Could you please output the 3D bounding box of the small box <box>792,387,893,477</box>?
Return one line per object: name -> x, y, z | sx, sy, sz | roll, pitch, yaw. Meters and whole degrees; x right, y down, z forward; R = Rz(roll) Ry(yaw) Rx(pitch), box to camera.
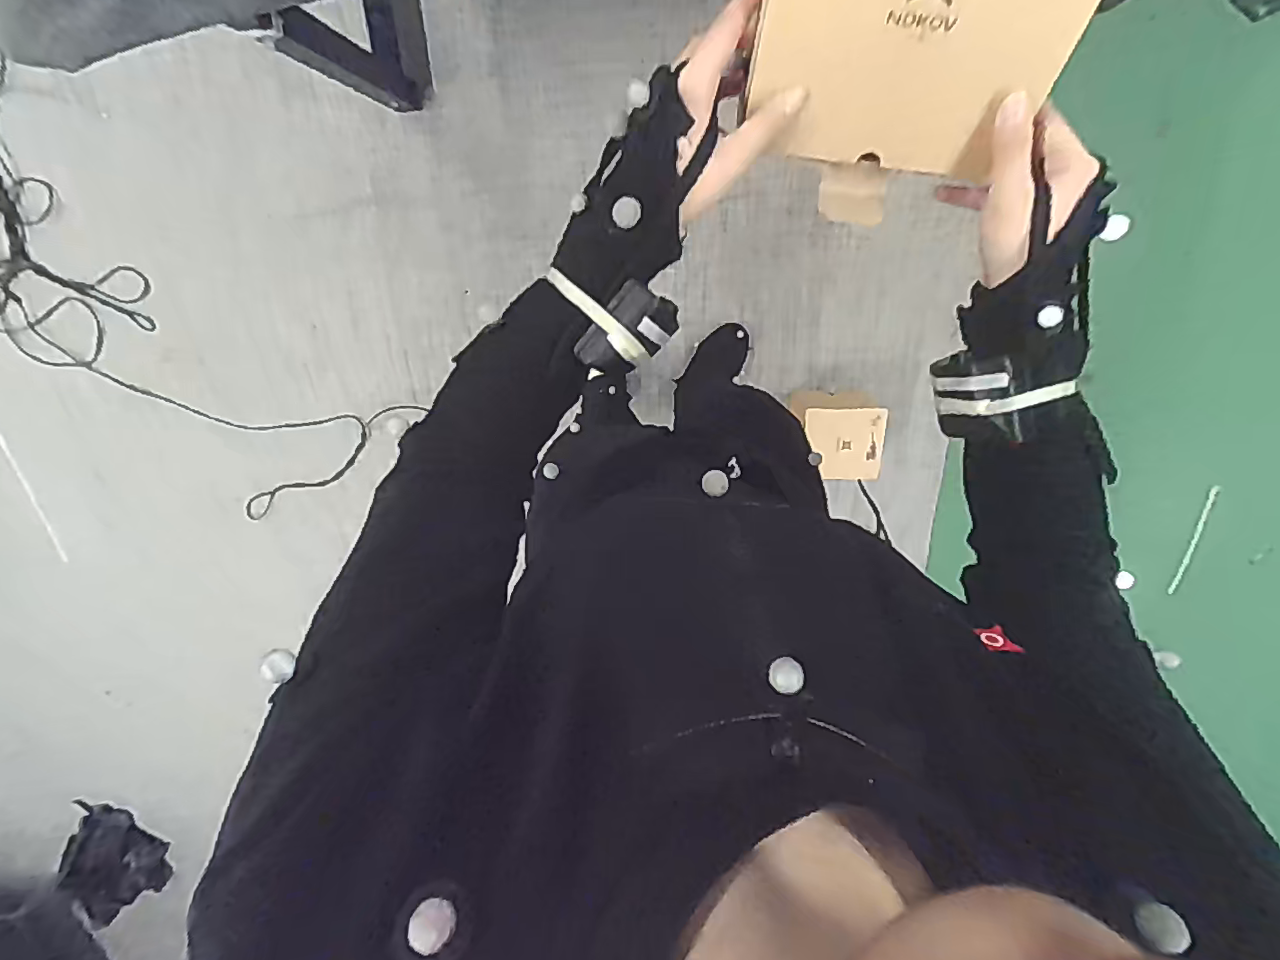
small box -> 0.453, -0.115, 1.241 | 0.179, 0.176, 0.168 | 1, 113, 5
